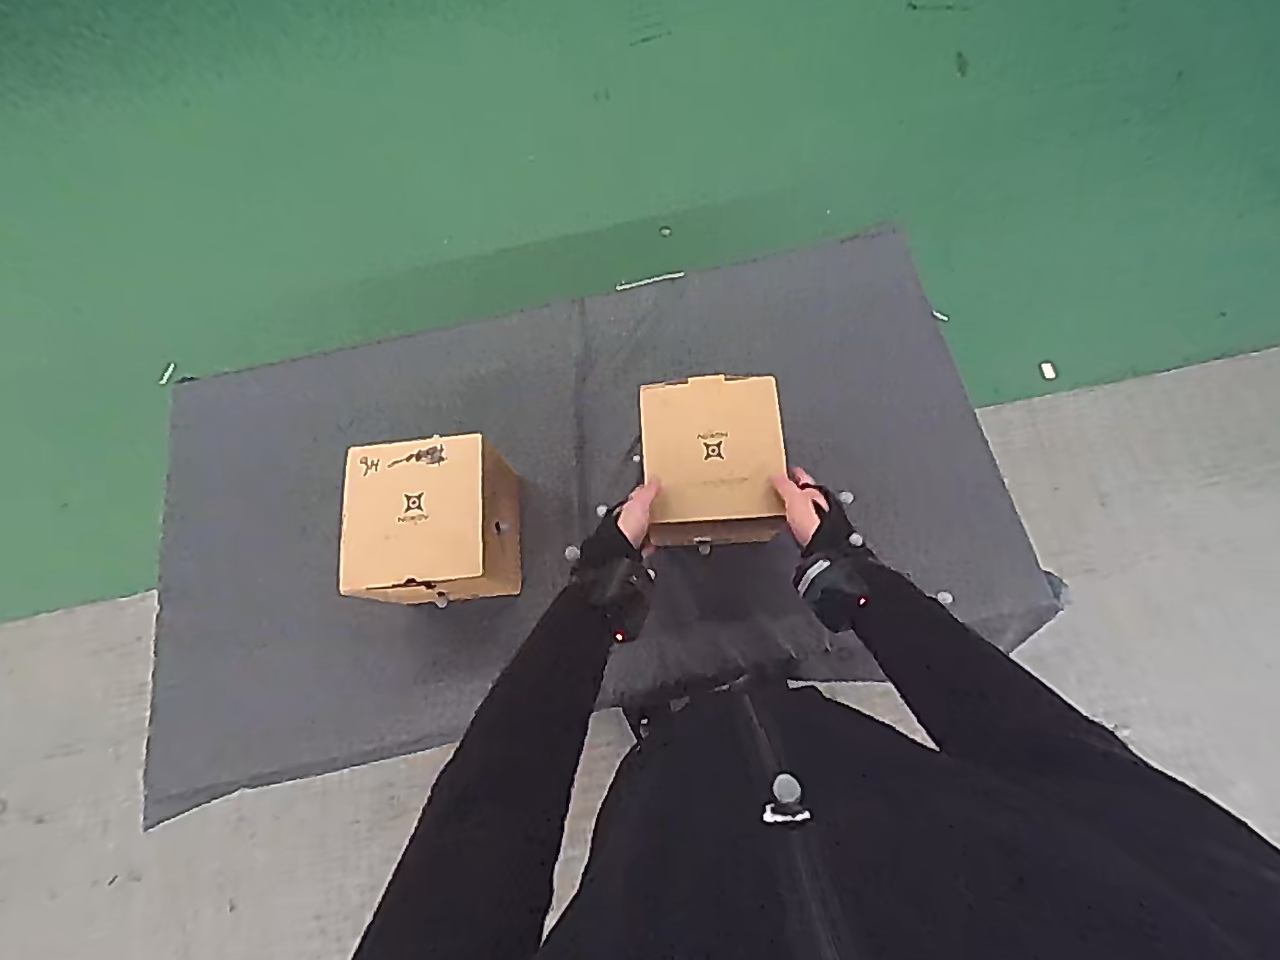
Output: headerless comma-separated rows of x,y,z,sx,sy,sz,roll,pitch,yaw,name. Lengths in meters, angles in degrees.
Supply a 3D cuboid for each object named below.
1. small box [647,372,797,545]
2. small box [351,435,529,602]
0.096,-0.019,0.692,0.168,0.176,0.179,-3,73,5,small box
-0.250,0.061,0.709,0.168,0.176,0.179,-9,72,2,small box
